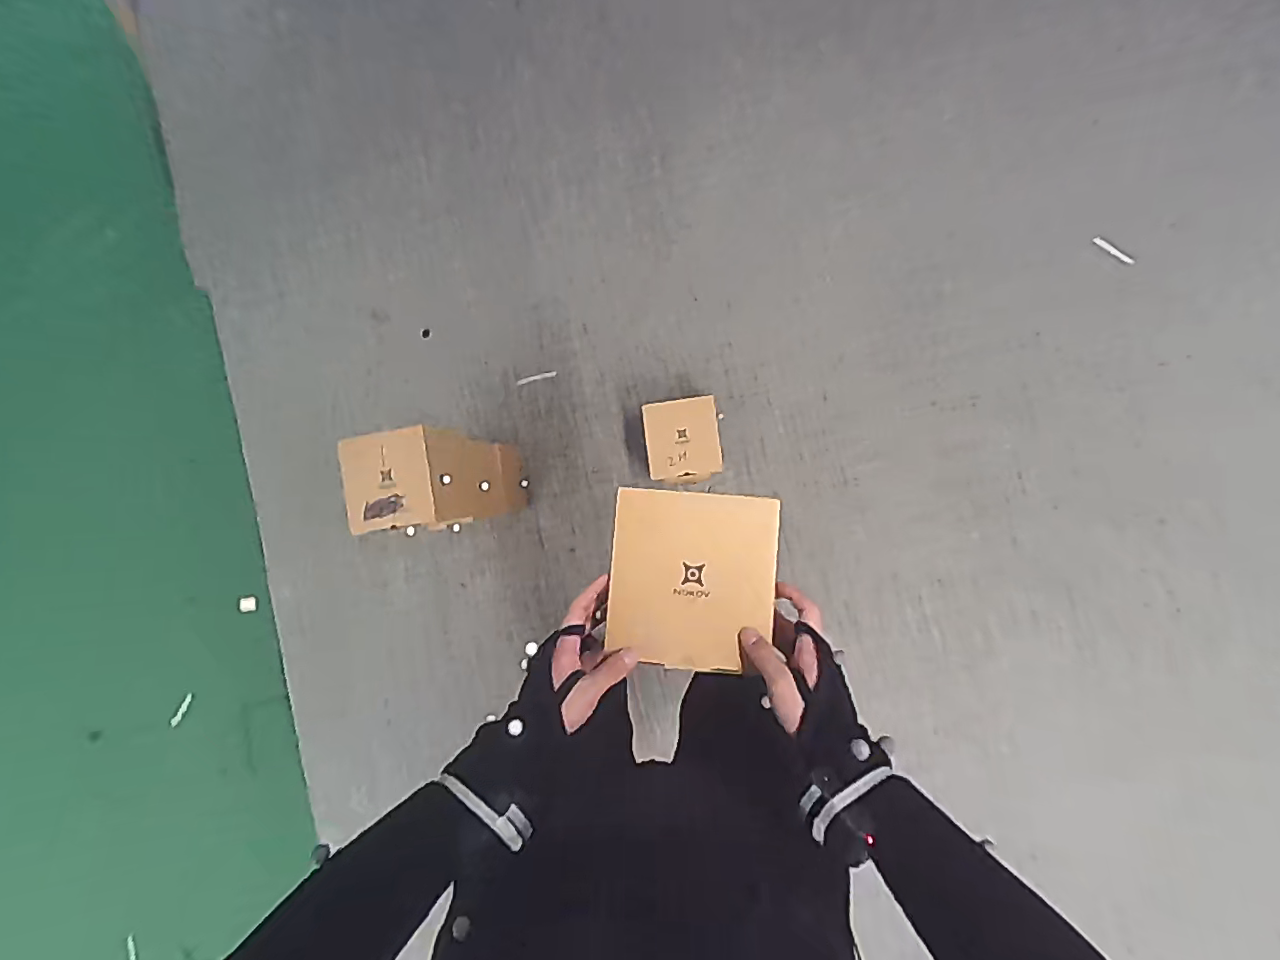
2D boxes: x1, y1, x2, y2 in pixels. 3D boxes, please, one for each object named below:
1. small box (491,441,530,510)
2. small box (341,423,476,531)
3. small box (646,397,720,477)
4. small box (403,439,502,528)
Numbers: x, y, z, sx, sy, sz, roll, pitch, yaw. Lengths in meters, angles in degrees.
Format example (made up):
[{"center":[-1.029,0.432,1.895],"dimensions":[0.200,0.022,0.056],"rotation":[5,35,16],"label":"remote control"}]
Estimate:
[{"center":[-0.393,-0.003,1.354],"dimensions":[0.179,0.176,0.168],"rotation":[-7,90,7],"label":"small box"},{"center":[-0.429,-0.006,1.028],"dimensions":[0.168,0.176,0.179],"rotation":[-9,89,7],"label":"small box"},{"center":[0.106,-0.097,1.289],"dimensions":[0.168,0.176,0.179],"rotation":[-1,91,9],"label":"small box"},{"center":[-0.417,0.003,1.193],"dimensions":[0.168,0.176,0.179],"rotation":[-7,91,7],"label":"small box"}]
